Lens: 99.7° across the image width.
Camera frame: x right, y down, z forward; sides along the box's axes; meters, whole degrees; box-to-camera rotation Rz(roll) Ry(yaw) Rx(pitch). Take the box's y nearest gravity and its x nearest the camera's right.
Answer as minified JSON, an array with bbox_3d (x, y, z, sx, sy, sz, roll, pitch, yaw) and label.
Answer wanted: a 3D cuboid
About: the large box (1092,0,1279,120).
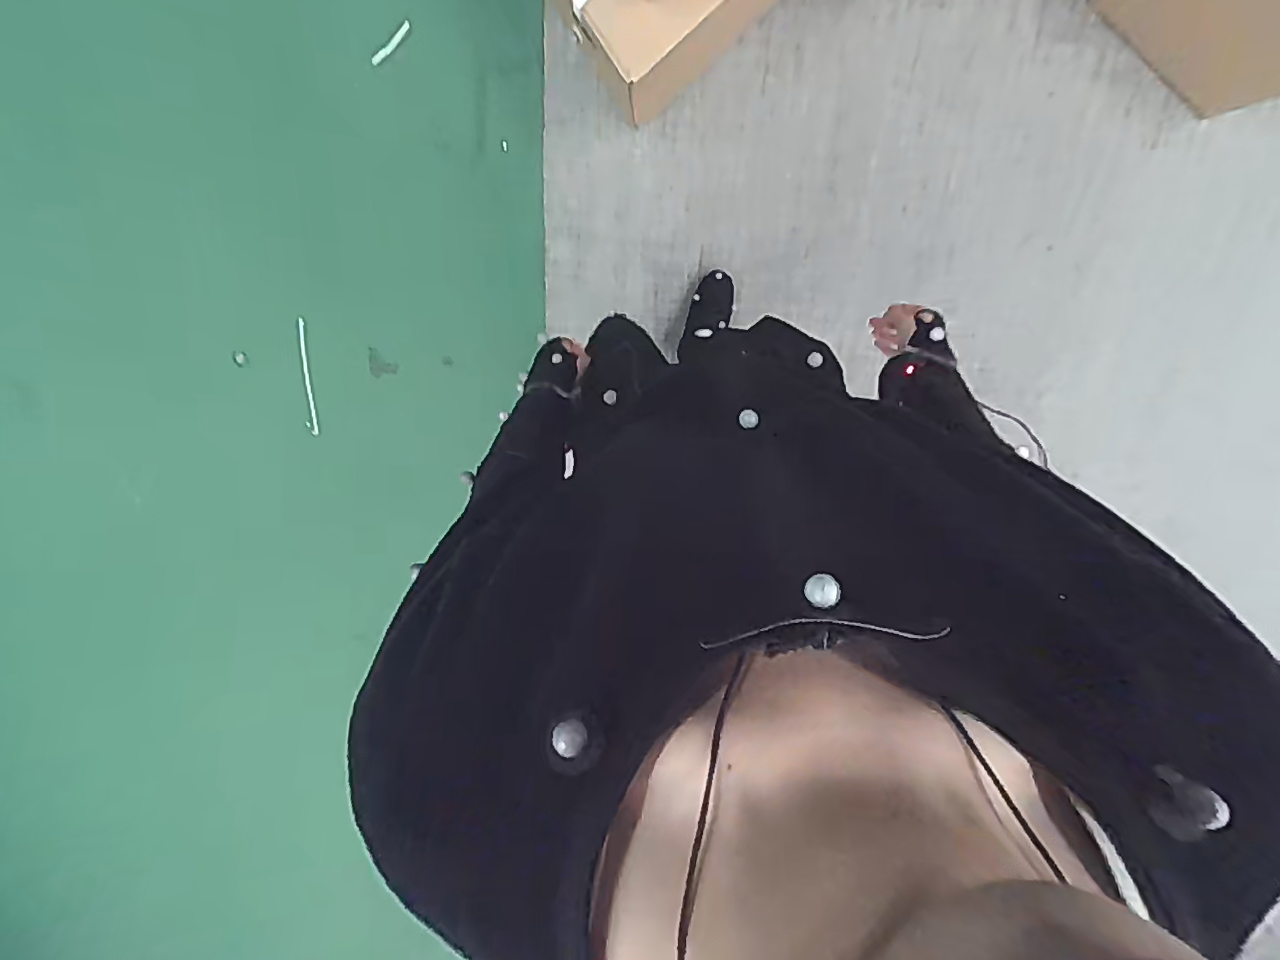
[{"bbox_3d":[1.203,-0.980,1.008,0.408,0.320,0.320,32,108,-11],"label":"large box"}]
